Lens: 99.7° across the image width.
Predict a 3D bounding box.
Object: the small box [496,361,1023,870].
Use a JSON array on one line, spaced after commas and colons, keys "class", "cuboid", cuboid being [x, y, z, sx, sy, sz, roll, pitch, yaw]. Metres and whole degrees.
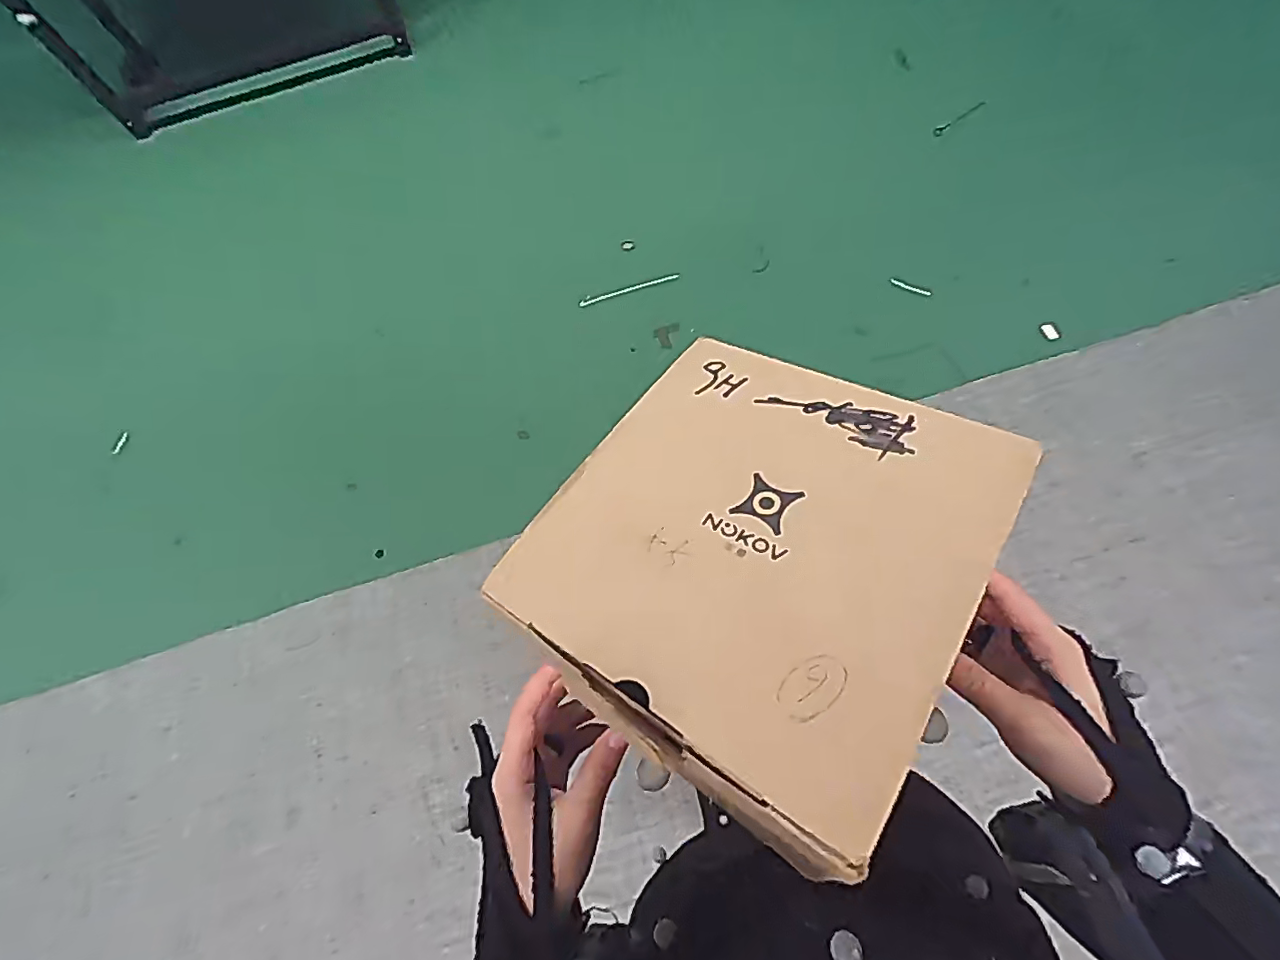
[{"class": "small box", "cuboid": [0.063, 0.072, 0.294, 0.168, 0.176, 0.179, 26, 64, 28]}]
